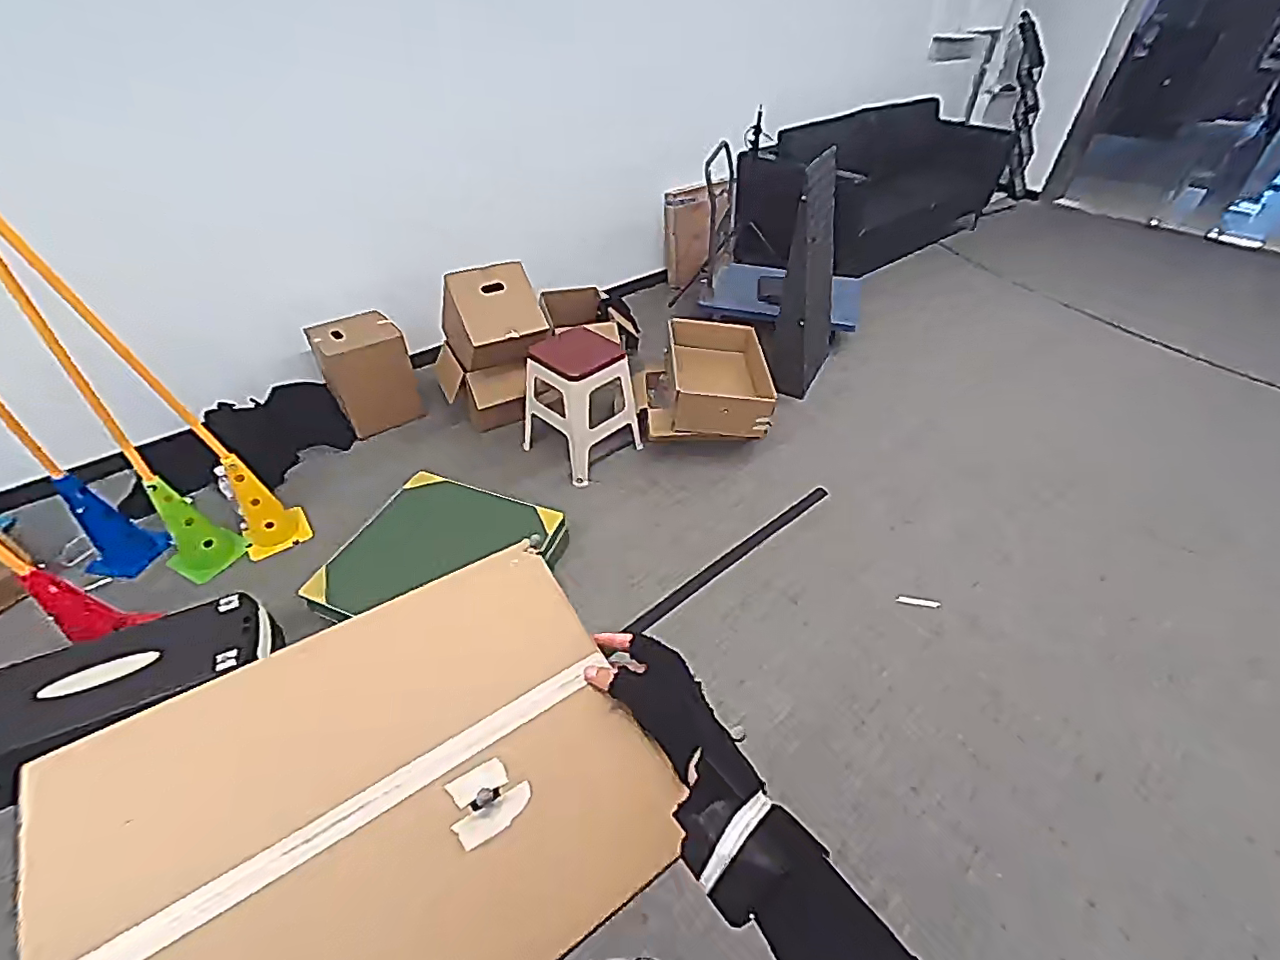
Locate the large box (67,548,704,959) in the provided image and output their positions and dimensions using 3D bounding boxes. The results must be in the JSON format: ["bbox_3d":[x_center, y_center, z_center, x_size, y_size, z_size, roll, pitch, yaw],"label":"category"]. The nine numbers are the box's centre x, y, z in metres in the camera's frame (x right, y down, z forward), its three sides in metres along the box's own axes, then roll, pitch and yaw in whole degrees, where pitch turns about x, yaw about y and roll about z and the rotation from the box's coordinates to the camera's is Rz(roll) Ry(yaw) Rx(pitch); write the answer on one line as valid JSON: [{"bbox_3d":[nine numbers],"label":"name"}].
[{"bbox_3d":[-0.210,0.342,0.536,0.408,0.320,0.320,-23,57,-27],"label":"large box"}]
